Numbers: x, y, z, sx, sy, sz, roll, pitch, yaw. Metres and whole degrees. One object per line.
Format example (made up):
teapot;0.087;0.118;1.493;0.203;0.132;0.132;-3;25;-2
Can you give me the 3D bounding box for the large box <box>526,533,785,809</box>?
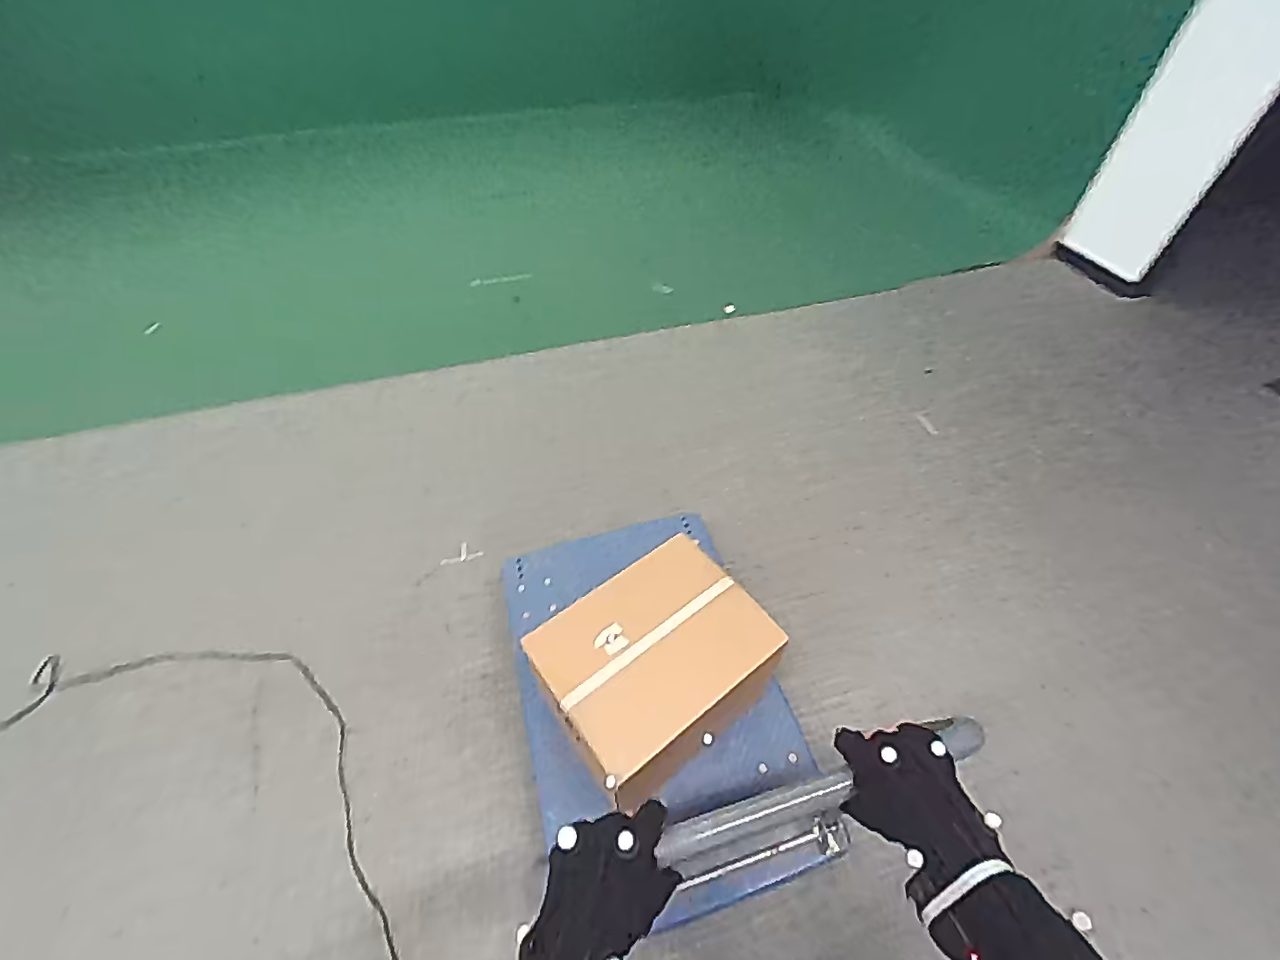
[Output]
large box;0.032;0.391;1.128;0.408;0.320;0.320;-31;56;-22
